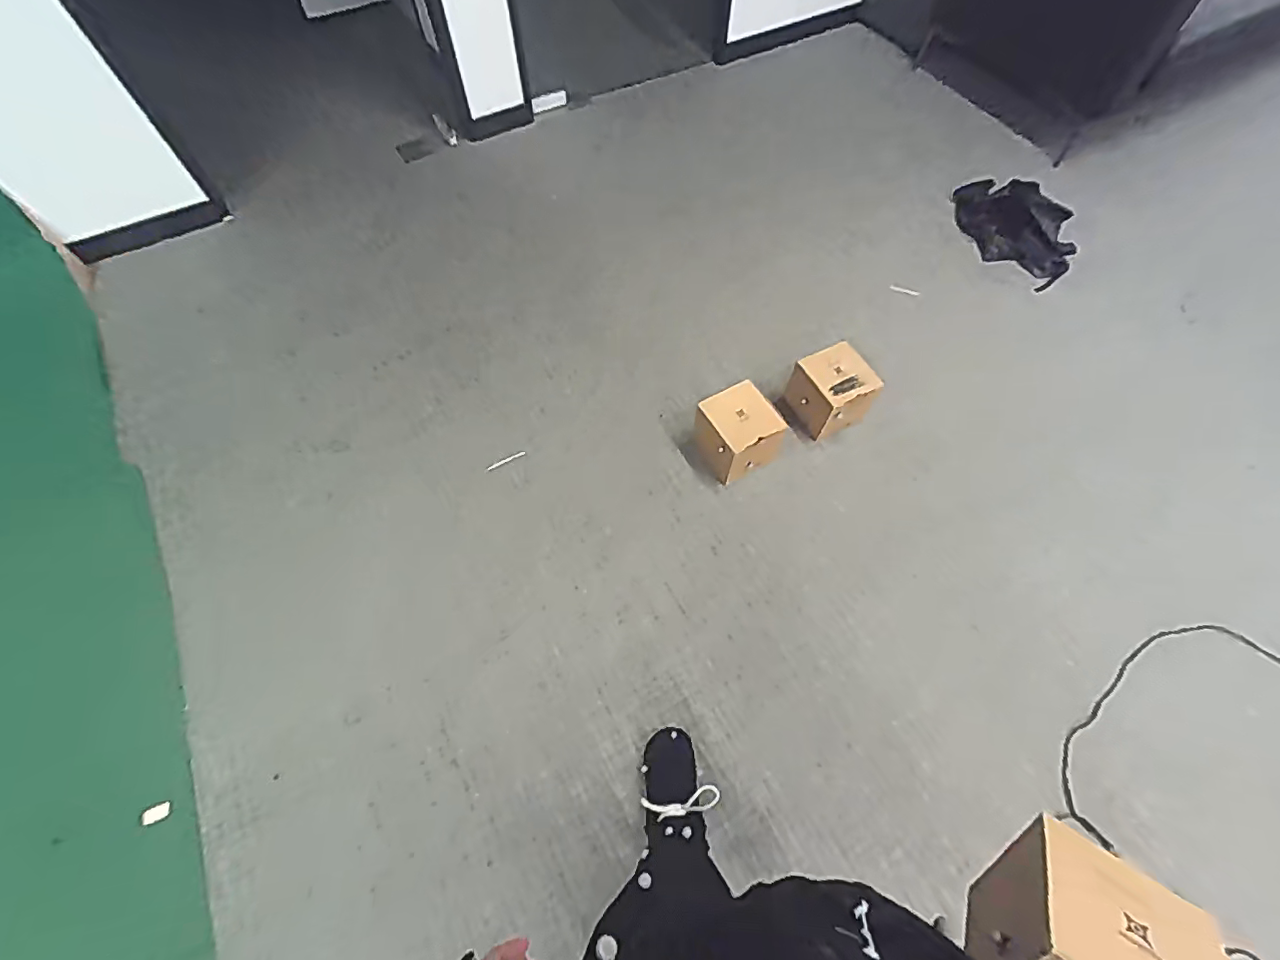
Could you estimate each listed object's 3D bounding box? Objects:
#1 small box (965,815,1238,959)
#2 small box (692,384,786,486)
[{"bbox_3d":[0.454,0.501,0.542,0.168,0.176,0.179,30,28,24],"label":"small box"},{"bbox_3d":[0.253,-0.116,1.437,0.168,0.176,0.179,-27,66,-15],"label":"small box"}]
